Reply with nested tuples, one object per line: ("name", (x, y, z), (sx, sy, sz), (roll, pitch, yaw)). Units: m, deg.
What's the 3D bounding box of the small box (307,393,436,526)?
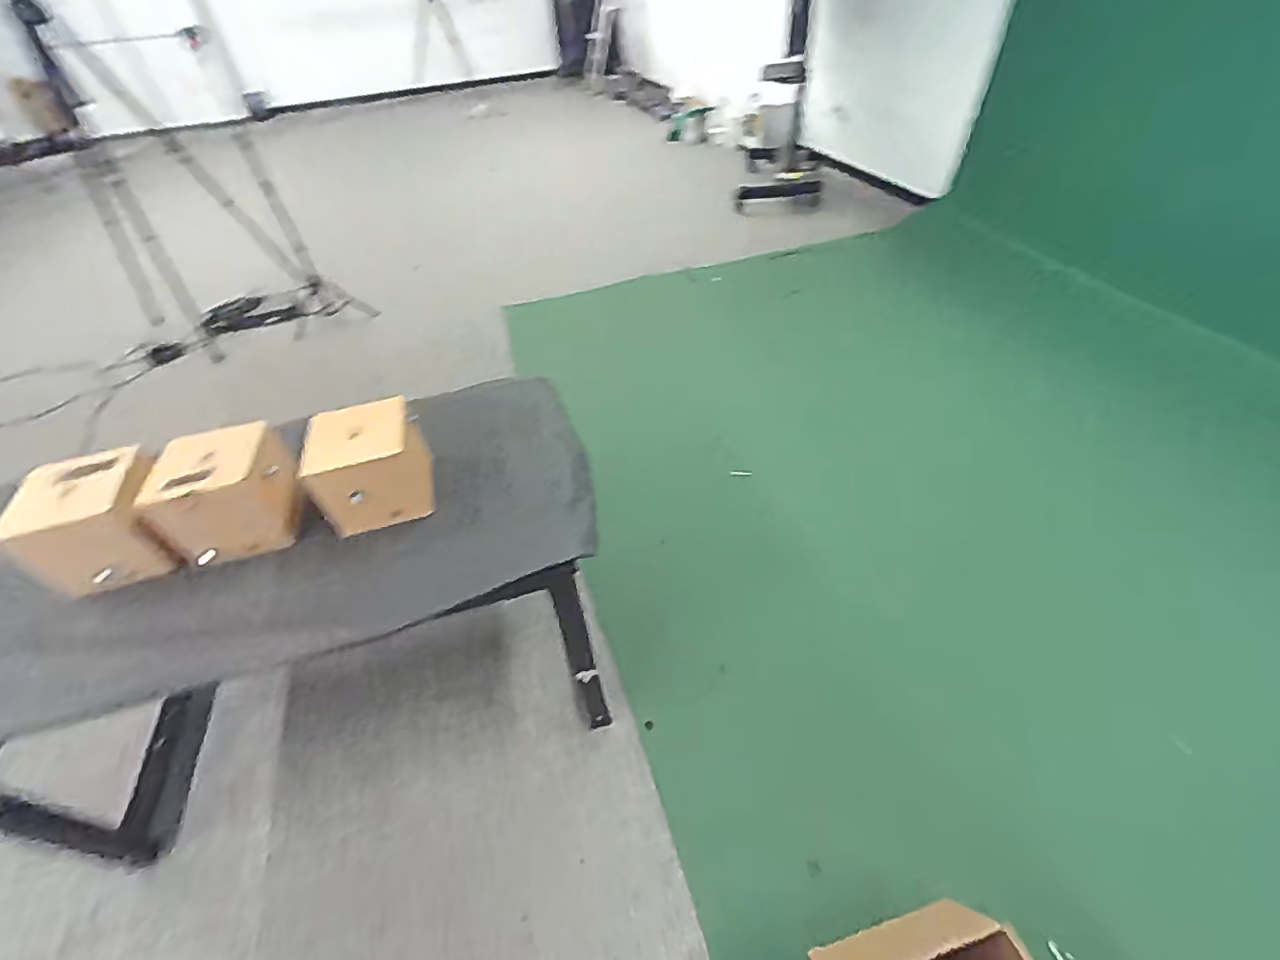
("small box", (-0.495, -0.033, 1.024), (0.168, 0.176, 0.179), (-15, 46, -9))
